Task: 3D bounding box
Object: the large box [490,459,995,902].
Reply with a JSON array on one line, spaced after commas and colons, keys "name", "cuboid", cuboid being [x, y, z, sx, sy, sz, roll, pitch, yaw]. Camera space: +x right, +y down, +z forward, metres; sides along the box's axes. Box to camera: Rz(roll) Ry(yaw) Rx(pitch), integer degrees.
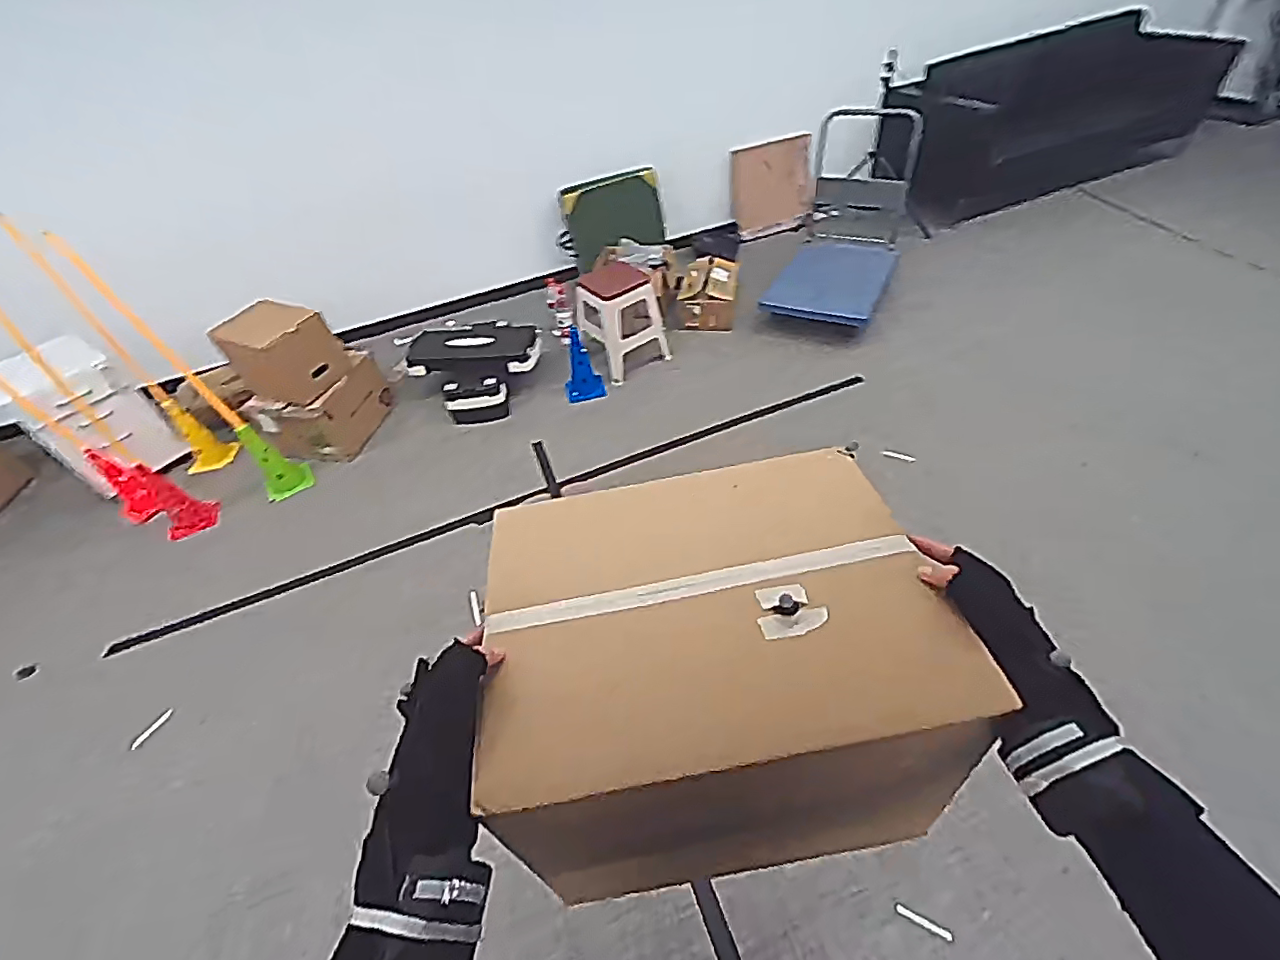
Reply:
[{"name": "large box", "cuboid": [0.076, 0.221, 0.614, 0.408, 0.320, 0.320, -10, 42, -1]}]
